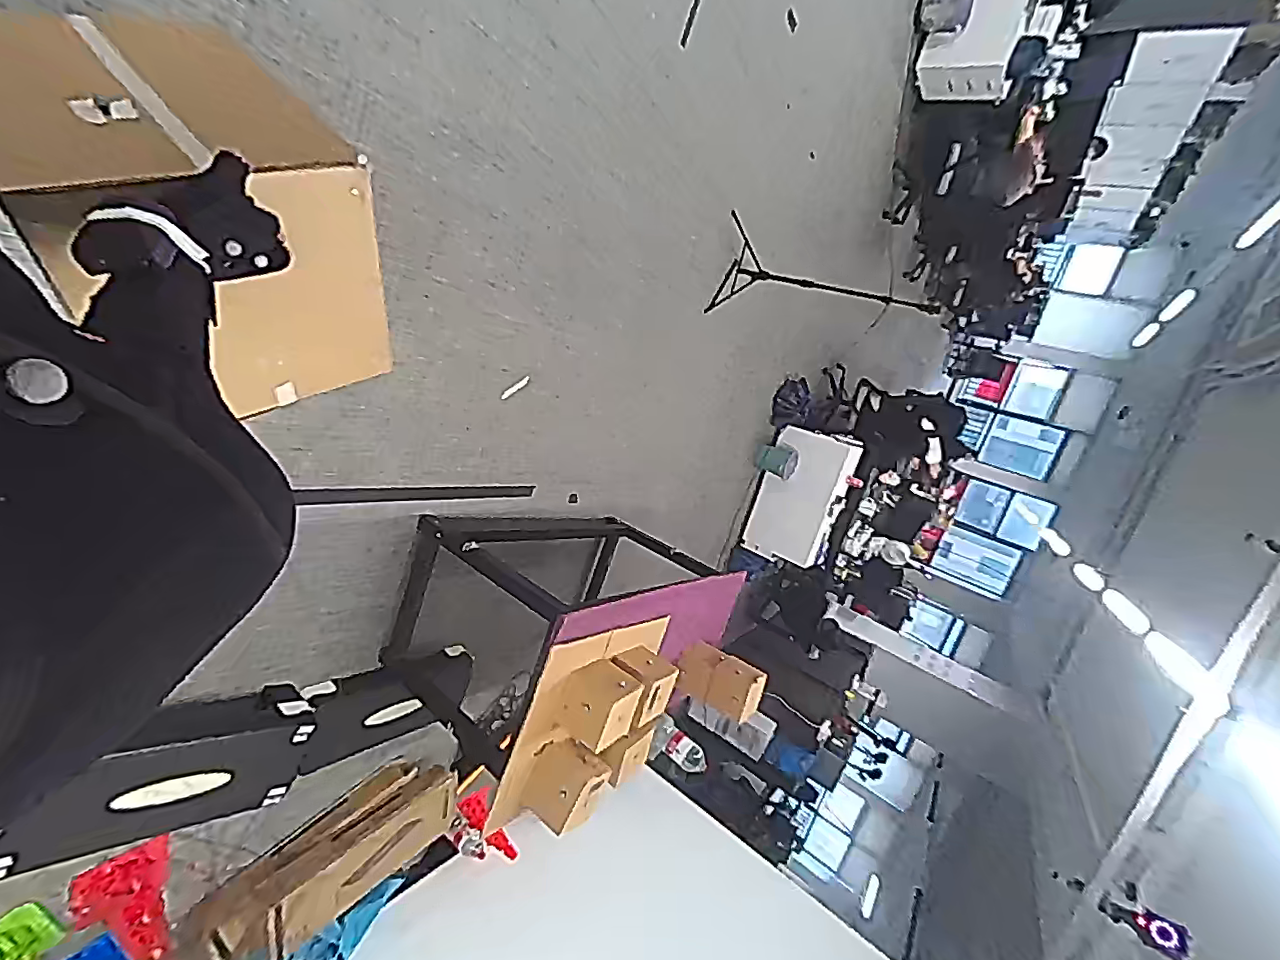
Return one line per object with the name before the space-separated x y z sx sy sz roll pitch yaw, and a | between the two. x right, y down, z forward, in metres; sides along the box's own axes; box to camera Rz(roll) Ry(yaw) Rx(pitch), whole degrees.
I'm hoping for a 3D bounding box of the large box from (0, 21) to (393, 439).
large box | -0.586 -0.332 0.717 0.320 0.408 0.320 -31 157 -33
